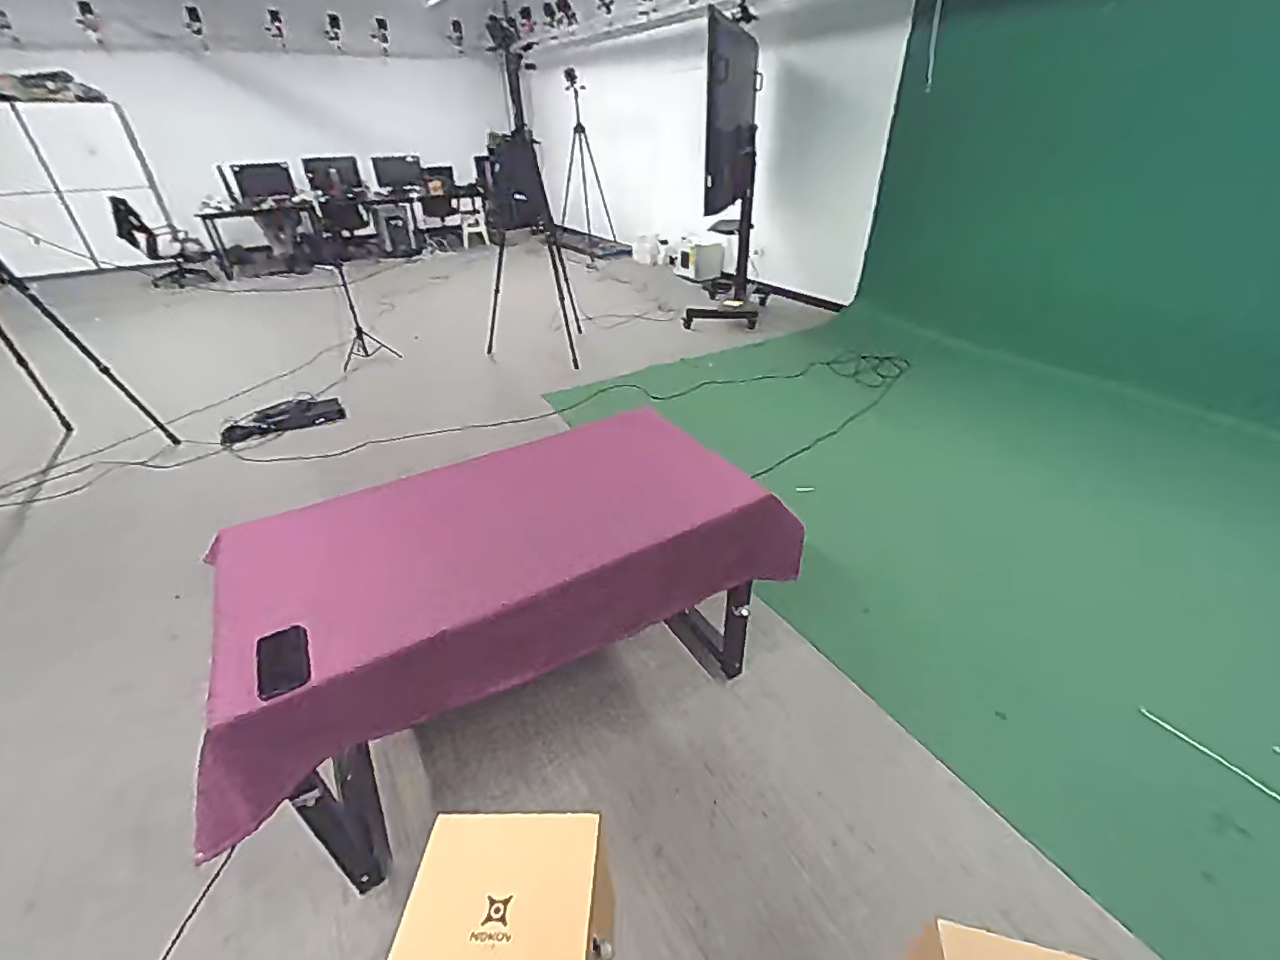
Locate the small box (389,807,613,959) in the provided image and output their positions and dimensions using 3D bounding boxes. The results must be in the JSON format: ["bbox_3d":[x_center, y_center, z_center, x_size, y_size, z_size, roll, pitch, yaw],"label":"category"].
[{"bbox_3d":[-0.116,0.440,0.504,0.168,0.176,0.179,-2,29,3],"label":"small box"}]
